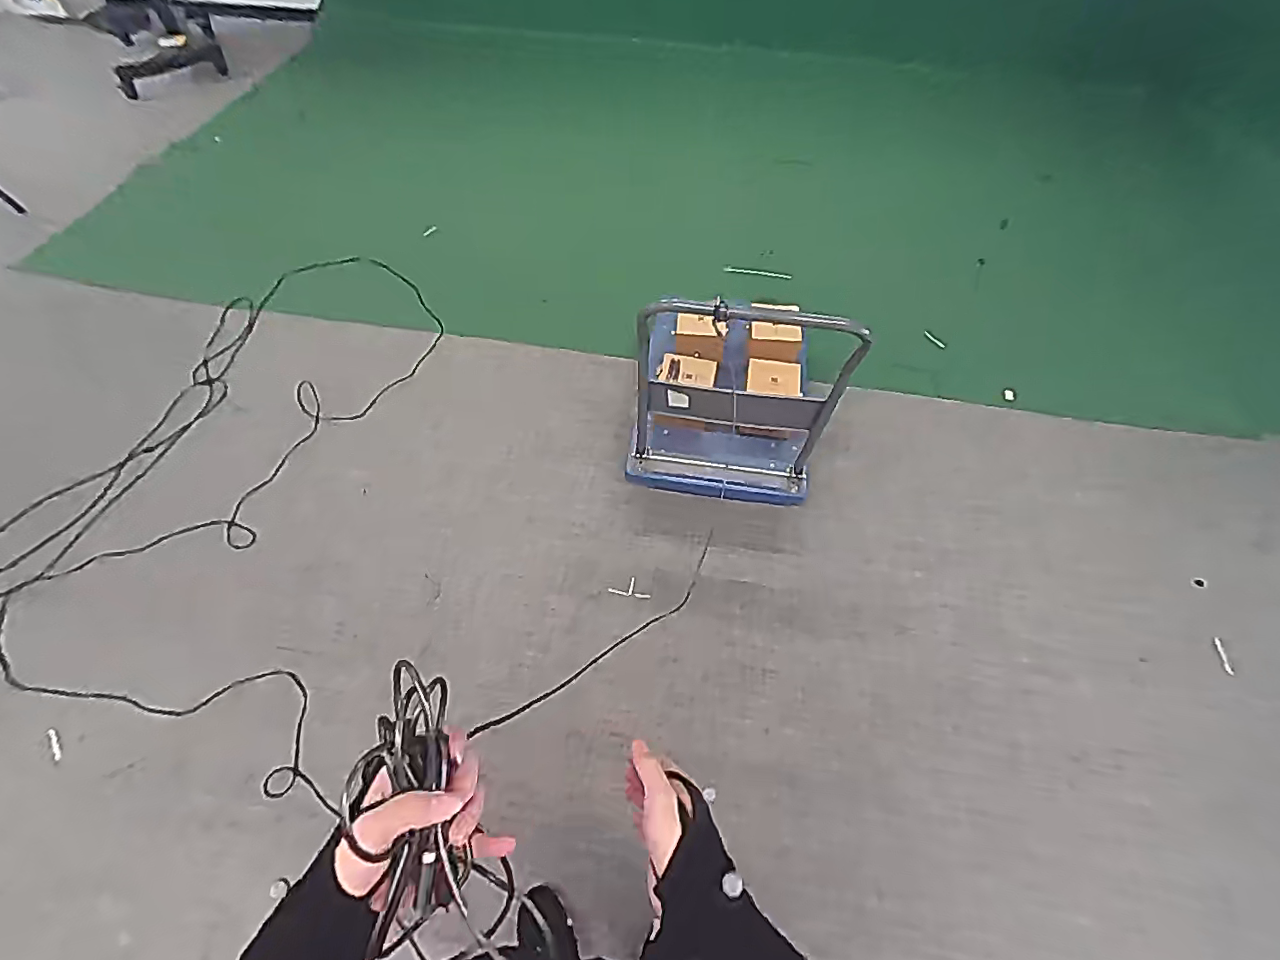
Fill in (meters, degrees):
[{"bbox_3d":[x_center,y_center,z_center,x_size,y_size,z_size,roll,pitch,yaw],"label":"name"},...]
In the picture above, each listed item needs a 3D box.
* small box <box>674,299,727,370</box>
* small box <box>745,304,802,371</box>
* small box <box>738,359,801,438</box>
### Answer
[{"bbox_3d":[0.211,-0.508,1.907,0.168,0.176,0.179,5,58,2],"label":"small box"},{"bbox_3d":[0.462,-0.488,1.896,0.168,0.176,0.179,5,59,3],"label":"small box"},{"bbox_3d":[0.418,-0.263,1.754,0.168,0.176,0.179,9,59,5],"label":"small box"}]
